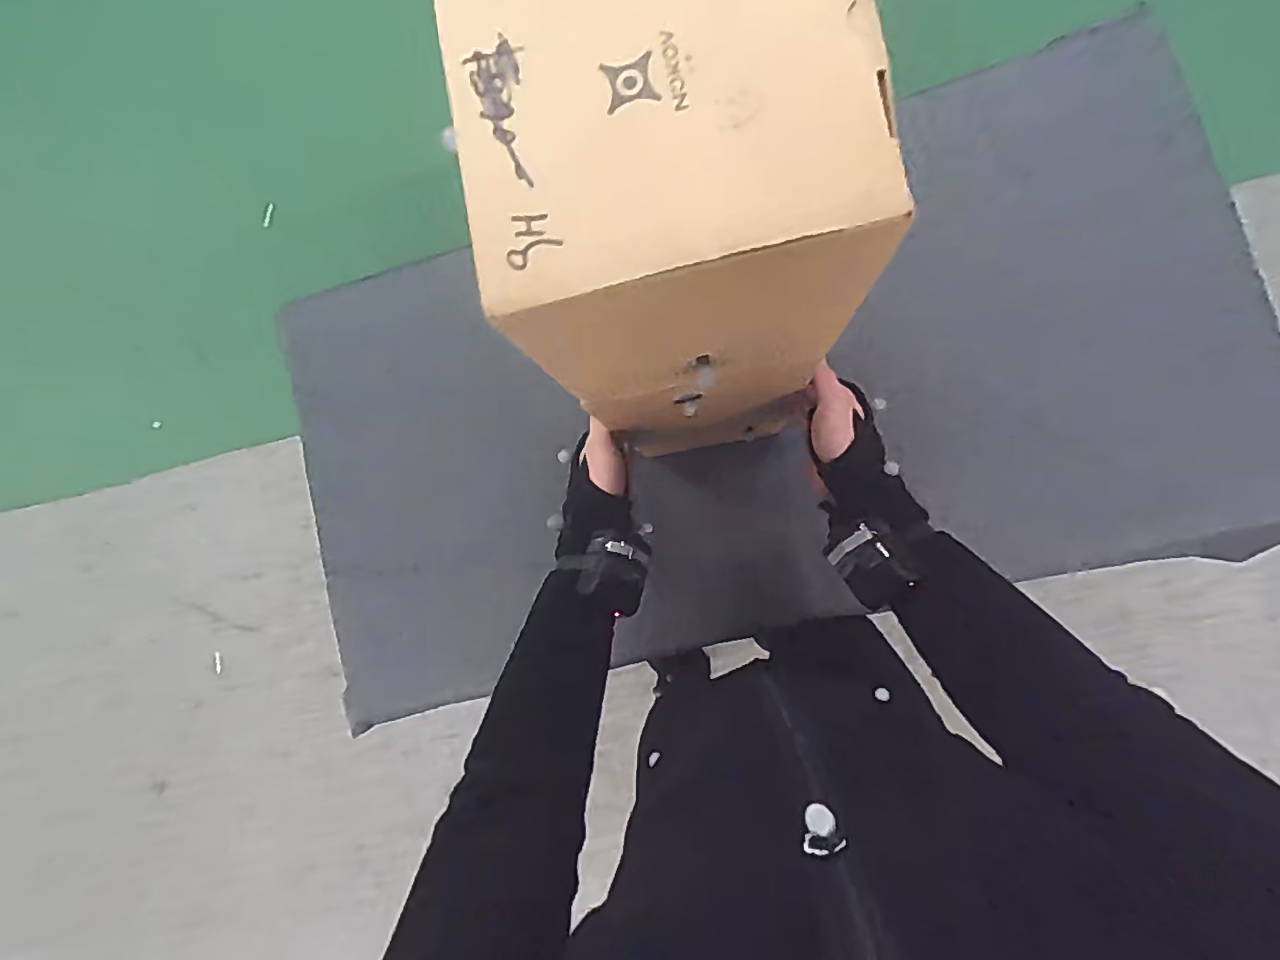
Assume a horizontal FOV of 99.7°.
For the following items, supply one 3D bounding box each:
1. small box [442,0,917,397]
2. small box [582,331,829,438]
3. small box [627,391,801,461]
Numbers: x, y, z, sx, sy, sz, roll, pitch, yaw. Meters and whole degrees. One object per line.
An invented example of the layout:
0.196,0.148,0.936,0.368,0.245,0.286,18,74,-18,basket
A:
0.019,-0.157,0.301,0.179,0.176,0.168,-11,83,7,small box
0.043,-0.140,0.462,0.179,0.176,0.168,-12,83,7,small box
0.073,-0.124,0.623,0.179,0.176,0.168,-12,83,10,small box
